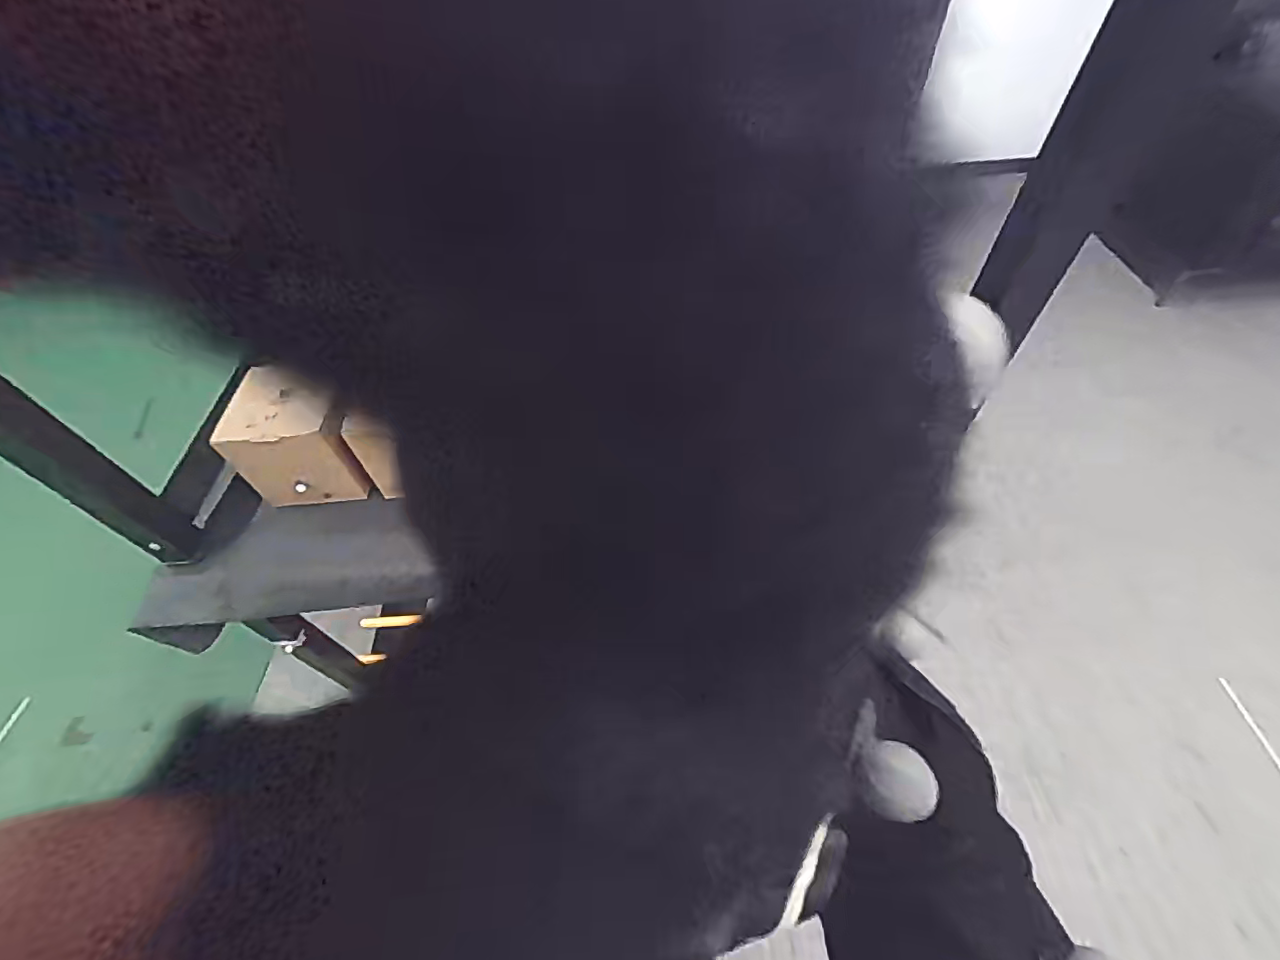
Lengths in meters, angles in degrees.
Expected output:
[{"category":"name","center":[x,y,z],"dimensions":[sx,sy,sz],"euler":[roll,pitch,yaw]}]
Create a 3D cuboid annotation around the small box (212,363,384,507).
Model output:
[{"category":"small box","center":[-0.561,-0.075,0.920],"dimensions":[0.168,0.176,0.179],"euler":[-5,52,0]}]
